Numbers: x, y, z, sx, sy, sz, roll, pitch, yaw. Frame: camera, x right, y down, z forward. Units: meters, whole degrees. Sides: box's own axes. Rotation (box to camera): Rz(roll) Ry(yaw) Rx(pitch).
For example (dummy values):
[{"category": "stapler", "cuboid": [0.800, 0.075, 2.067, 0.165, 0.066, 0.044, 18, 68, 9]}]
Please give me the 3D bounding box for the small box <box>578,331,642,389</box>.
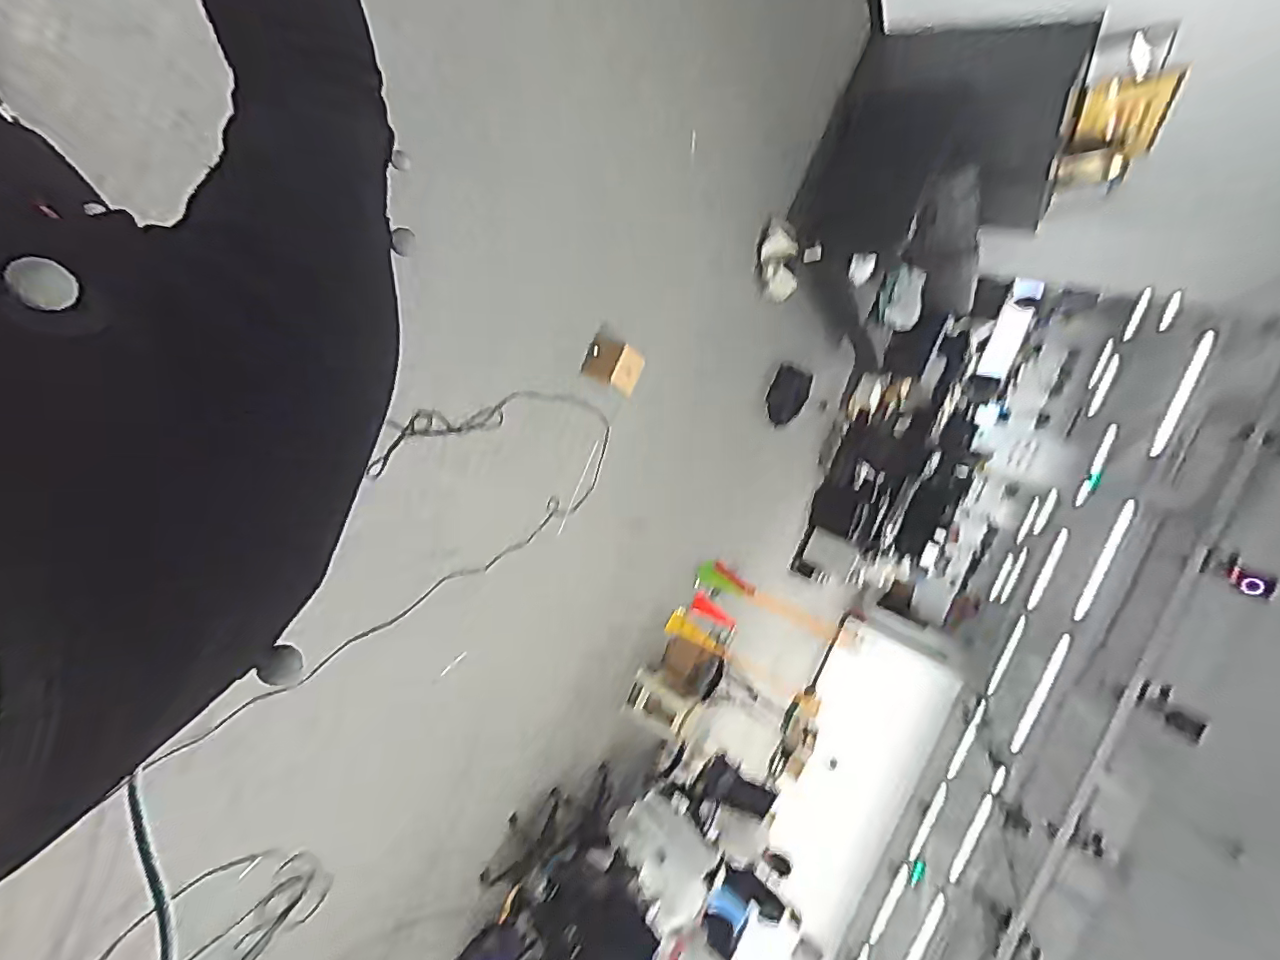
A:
[{"category": "small box", "cuboid": [-0.125, -0.504, 2.266, 0.179, 0.176, 0.168, 25, 90, -60]}]
